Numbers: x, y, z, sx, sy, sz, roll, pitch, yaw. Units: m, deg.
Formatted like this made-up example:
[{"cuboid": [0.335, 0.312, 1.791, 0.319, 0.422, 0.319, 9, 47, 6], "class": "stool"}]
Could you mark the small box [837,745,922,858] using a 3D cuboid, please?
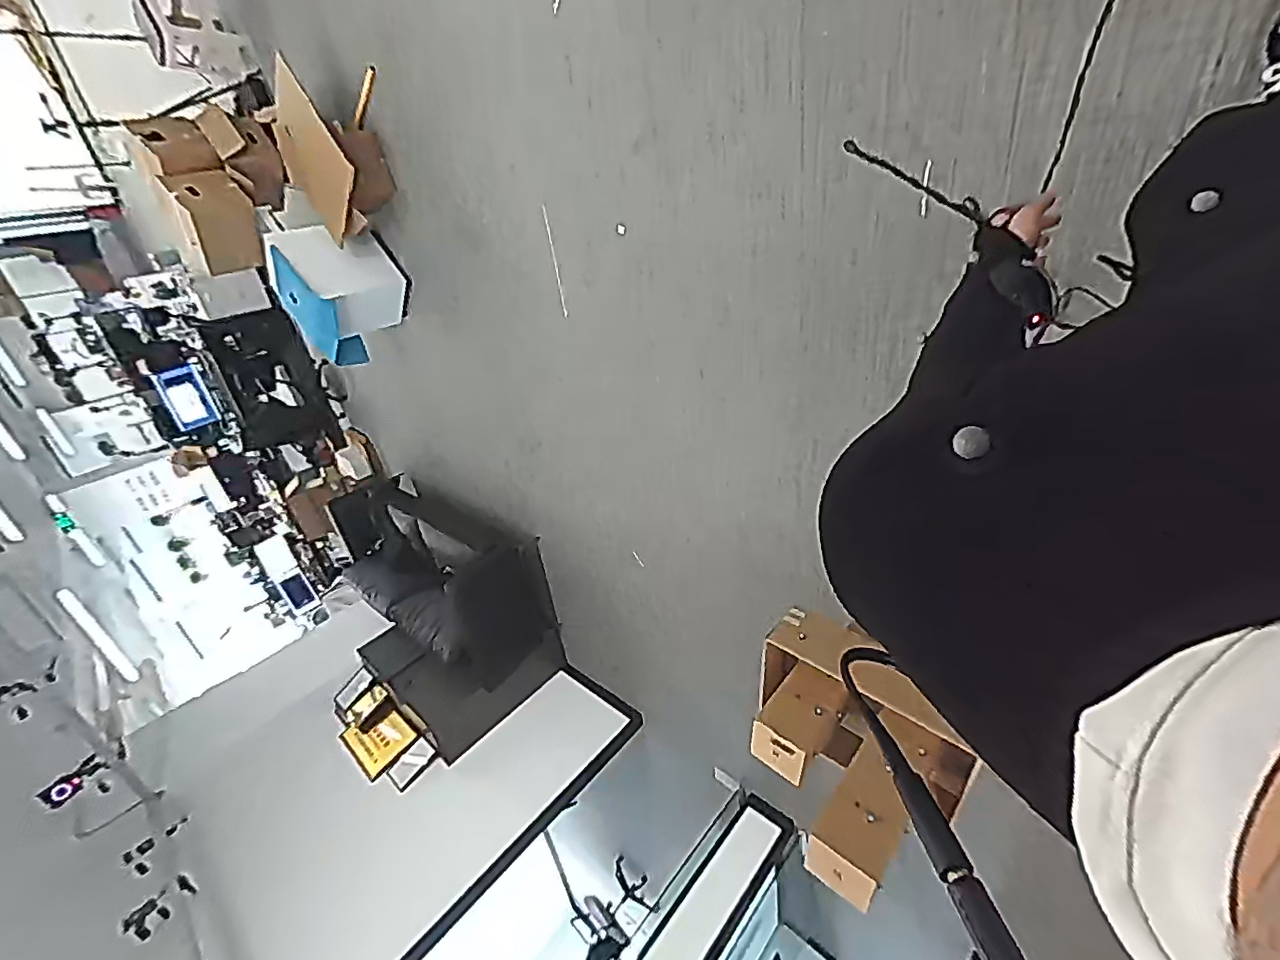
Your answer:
[{"cuboid": [0.633, 0.864, 1.452, 0.168, 0.176, 0.179, 22, 130, 37], "class": "small box"}]

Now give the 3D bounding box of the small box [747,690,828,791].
[{"cuboid": [0.438, 0.763, 1.602, 0.168, 0.176, 0.179, 25, 132, 36], "class": "small box"}]

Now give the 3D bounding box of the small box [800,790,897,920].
[{"cuboid": [0.522, 0.932, 1.354, 0.168, 0.176, 0.179, 23, 131, 36], "class": "small box"}]

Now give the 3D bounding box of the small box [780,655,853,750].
[{"cuboid": [0.549, 0.694, 1.702, 0.168, 0.176, 0.179, 24, 130, 36], "class": "small box"}]
